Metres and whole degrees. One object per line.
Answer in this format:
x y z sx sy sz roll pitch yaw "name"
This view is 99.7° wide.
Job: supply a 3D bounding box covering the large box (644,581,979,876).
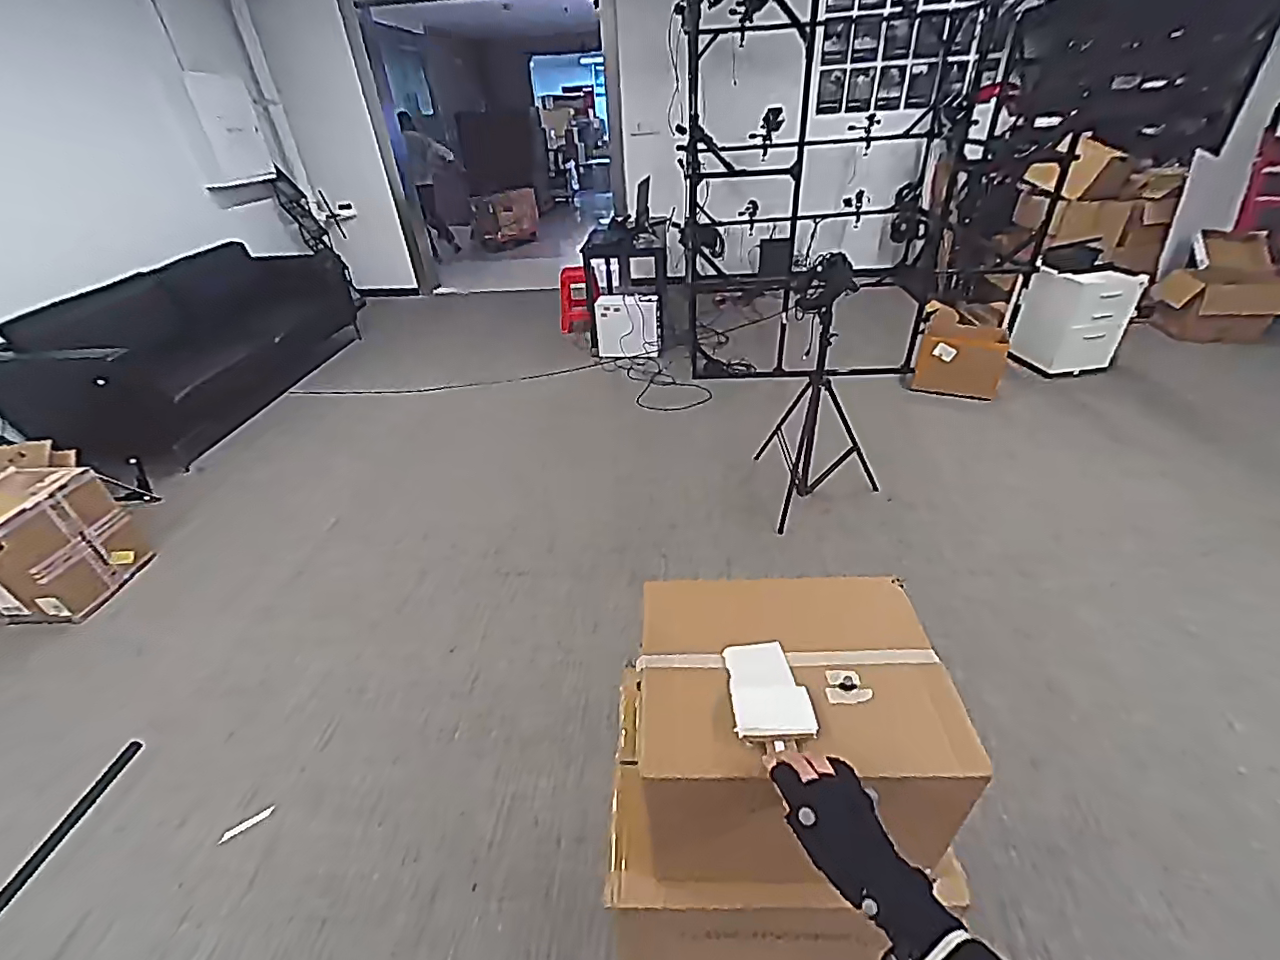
0.211 0.380 0.847 0.408 0.320 0.320 -1 35 2 "large box"
